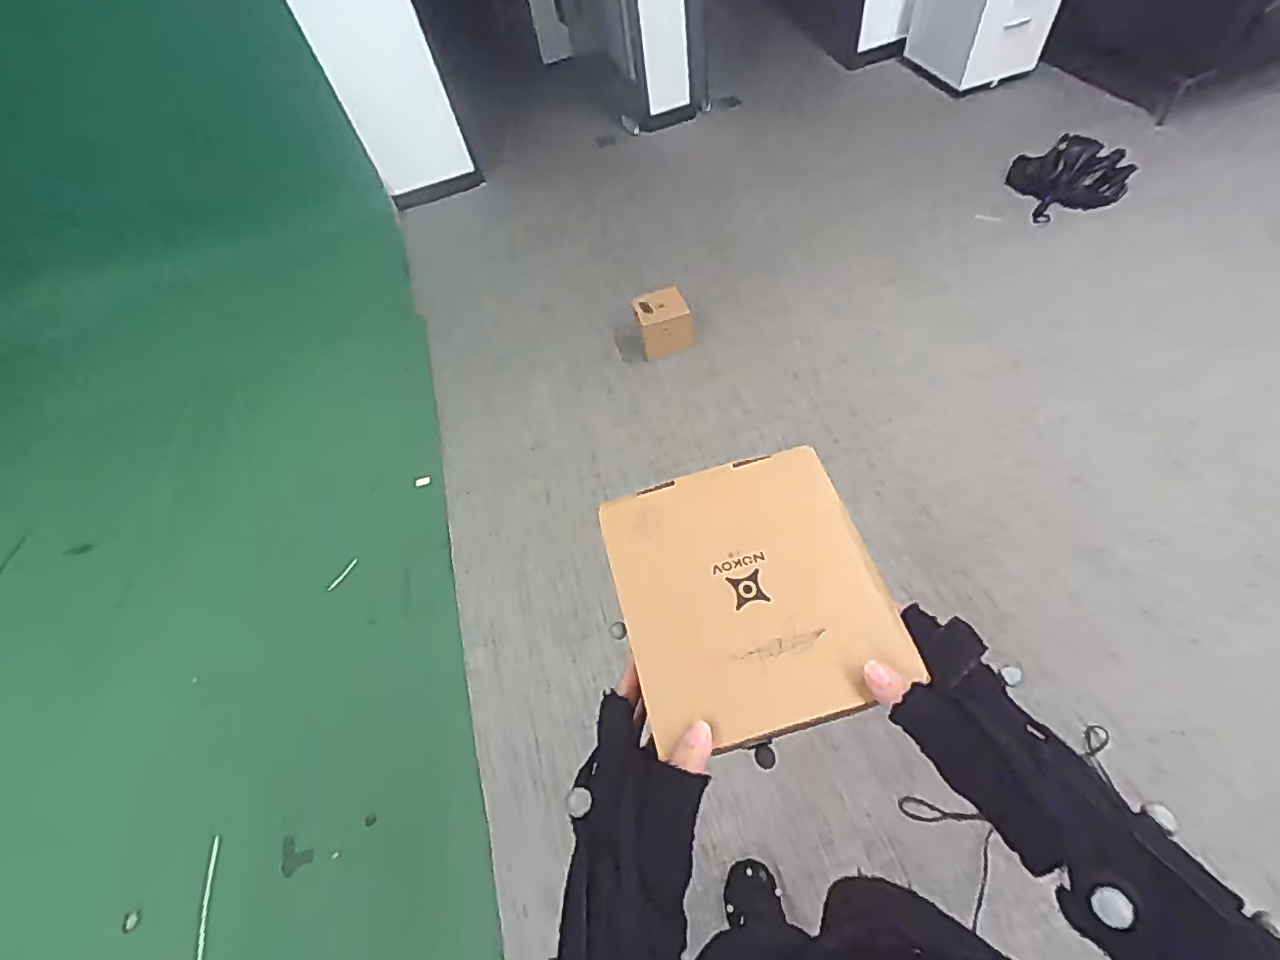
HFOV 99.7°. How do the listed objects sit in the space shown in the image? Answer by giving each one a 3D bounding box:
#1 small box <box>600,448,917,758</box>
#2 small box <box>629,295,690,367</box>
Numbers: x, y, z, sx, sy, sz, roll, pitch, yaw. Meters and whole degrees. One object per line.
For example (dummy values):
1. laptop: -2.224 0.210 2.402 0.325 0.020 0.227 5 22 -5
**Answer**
1. small box: 0.074 0.105 0.429 0.168 0.176 0.179 -15 61 -2
2. small box: 0.075 -0.542 1.990 0.179 0.176 0.168 -18 56 -3
